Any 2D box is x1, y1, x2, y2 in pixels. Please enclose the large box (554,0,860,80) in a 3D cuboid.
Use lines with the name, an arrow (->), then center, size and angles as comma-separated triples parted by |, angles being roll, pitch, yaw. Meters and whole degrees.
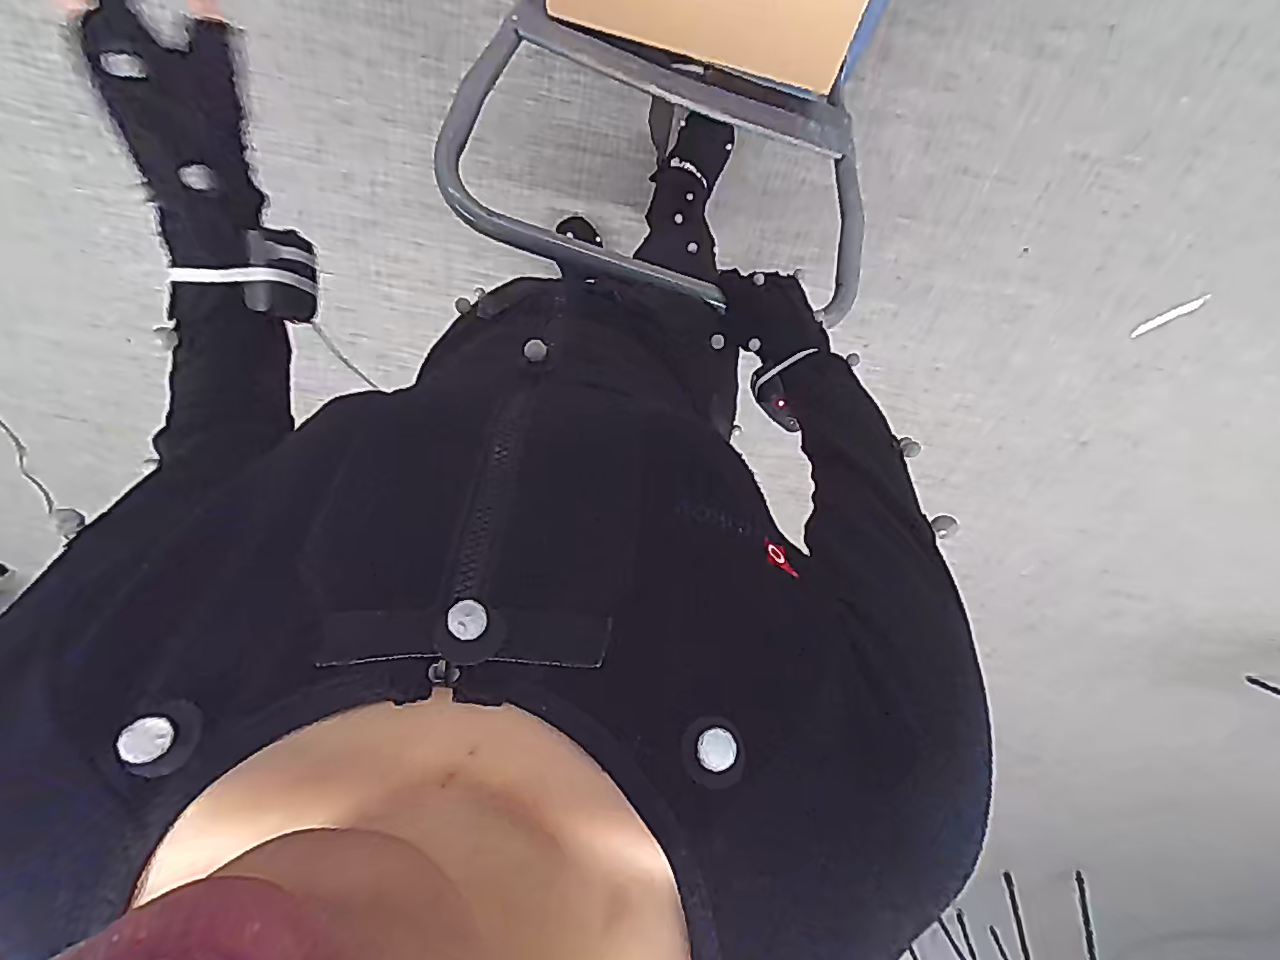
large box -> 0.115, -0.808, 0.718 | 0.408, 0.320, 0.320 | 11, 145, -5
